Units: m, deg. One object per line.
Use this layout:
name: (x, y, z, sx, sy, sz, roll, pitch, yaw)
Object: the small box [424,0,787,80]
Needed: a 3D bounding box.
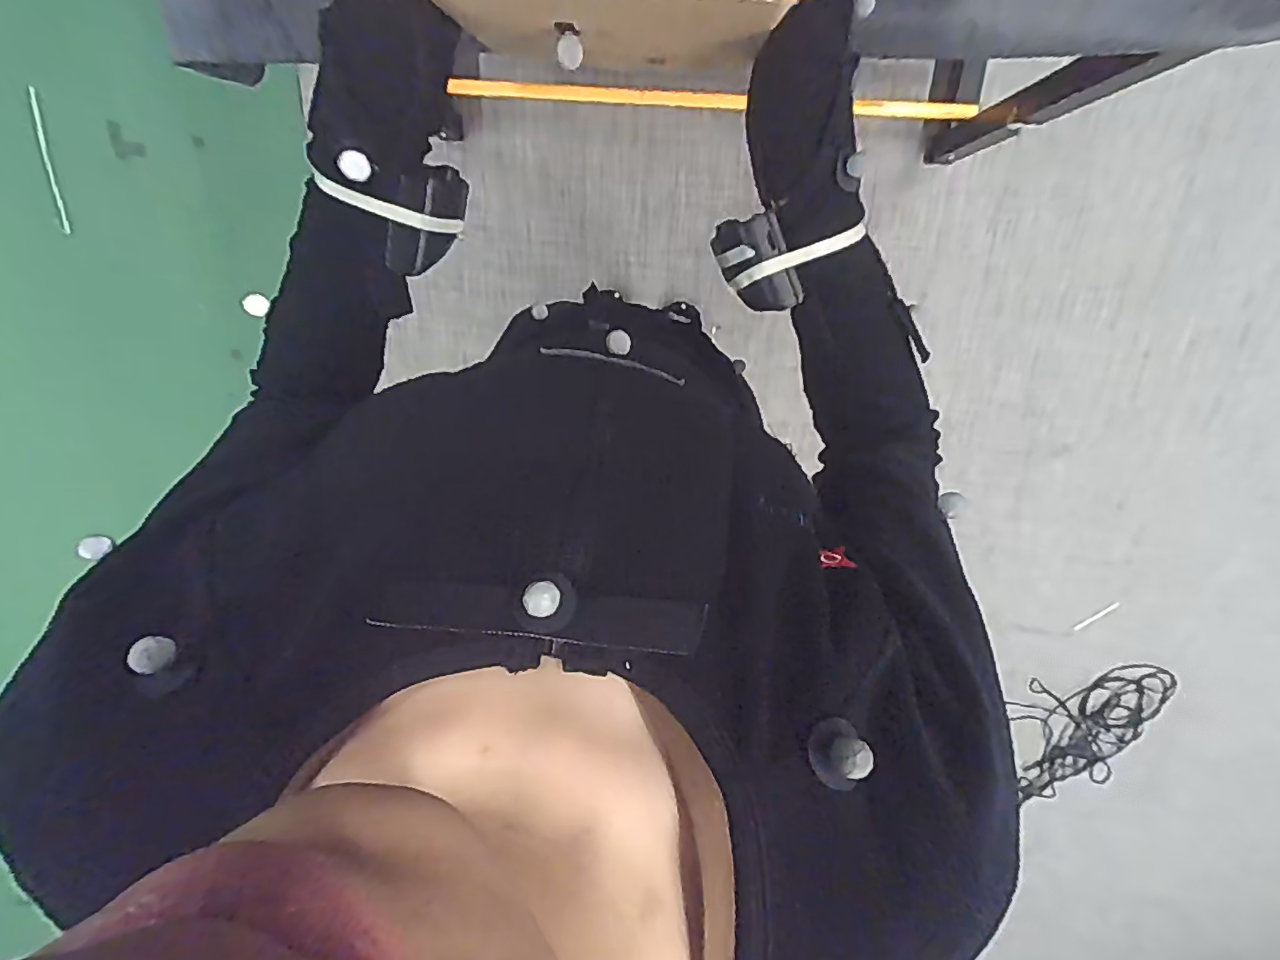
small box: (-0.007, -0.312, 0.256, 0.168, 0.176, 0.179, 5, 117, 1)
